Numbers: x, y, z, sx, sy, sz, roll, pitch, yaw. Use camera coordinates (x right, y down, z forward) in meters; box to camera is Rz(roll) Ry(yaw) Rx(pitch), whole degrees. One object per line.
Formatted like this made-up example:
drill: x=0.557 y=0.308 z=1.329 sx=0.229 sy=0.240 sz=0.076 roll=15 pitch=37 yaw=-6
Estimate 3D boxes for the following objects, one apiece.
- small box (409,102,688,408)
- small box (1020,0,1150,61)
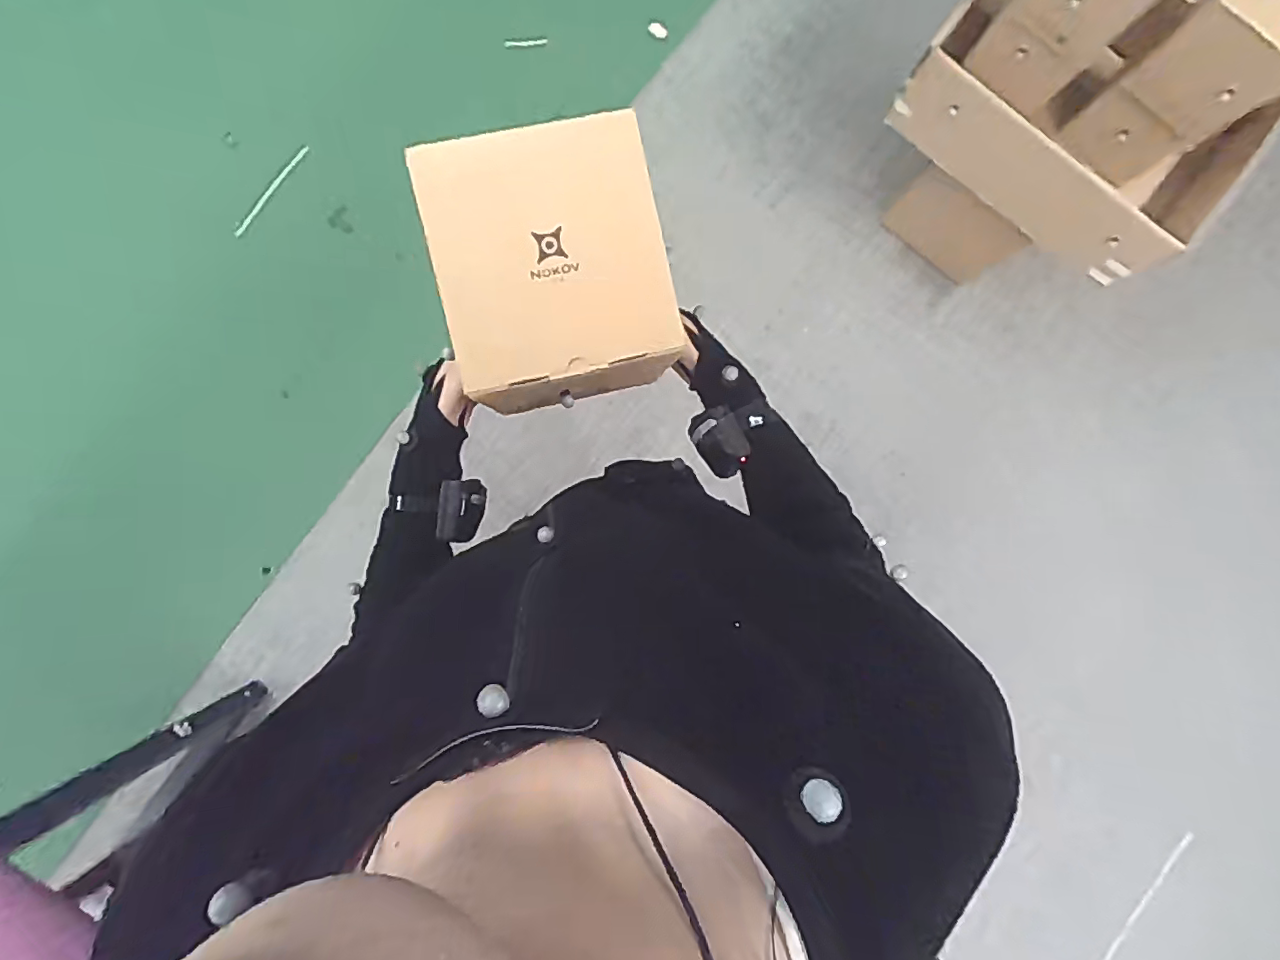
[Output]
small box: x=-0.071 y=-0.169 z=0.457 sx=0.168 sy=0.176 sz=0.179 roll=-13 pitch=94 yaw=-5
small box: x=0.768 y=-0.845 z=0.875 sx=0.168 sy=0.176 sz=0.179 roll=37 pitch=89 yaw=0
